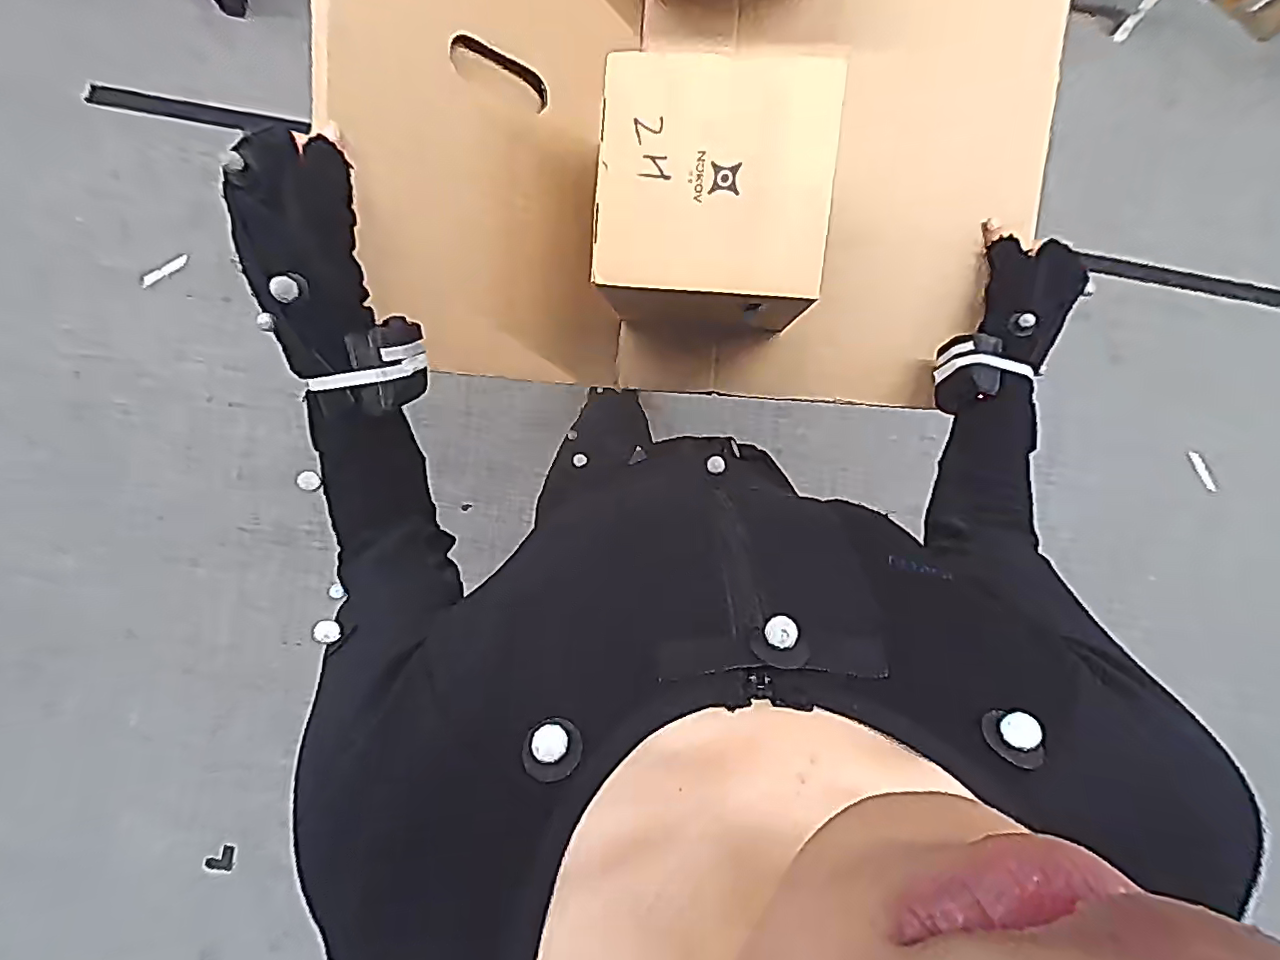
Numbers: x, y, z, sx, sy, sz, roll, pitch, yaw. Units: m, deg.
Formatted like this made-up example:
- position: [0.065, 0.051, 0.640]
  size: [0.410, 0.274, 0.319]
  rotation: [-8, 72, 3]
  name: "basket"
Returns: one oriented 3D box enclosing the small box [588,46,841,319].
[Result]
- position: [0.060, -0.245, 0.487]
  size: [0.179, 0.176, 0.168]
  rotation: [6, 98, 6]
  name: "small box"
